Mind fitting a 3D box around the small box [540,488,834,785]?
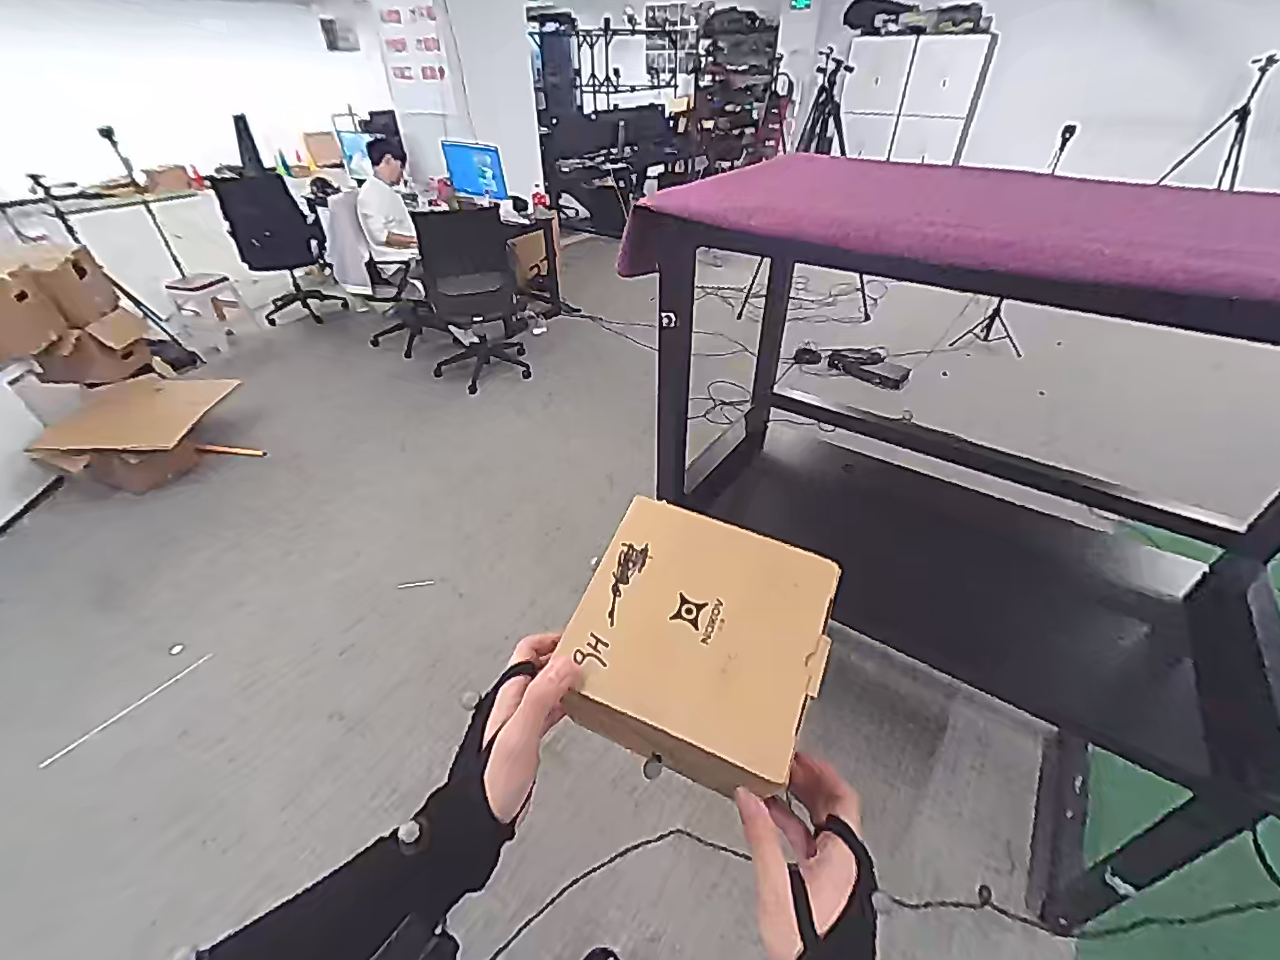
[{"bbox_3d":[0.041,0.140,0.466,0.179,0.176,0.168,19,57,14],"label":"small box"}]
